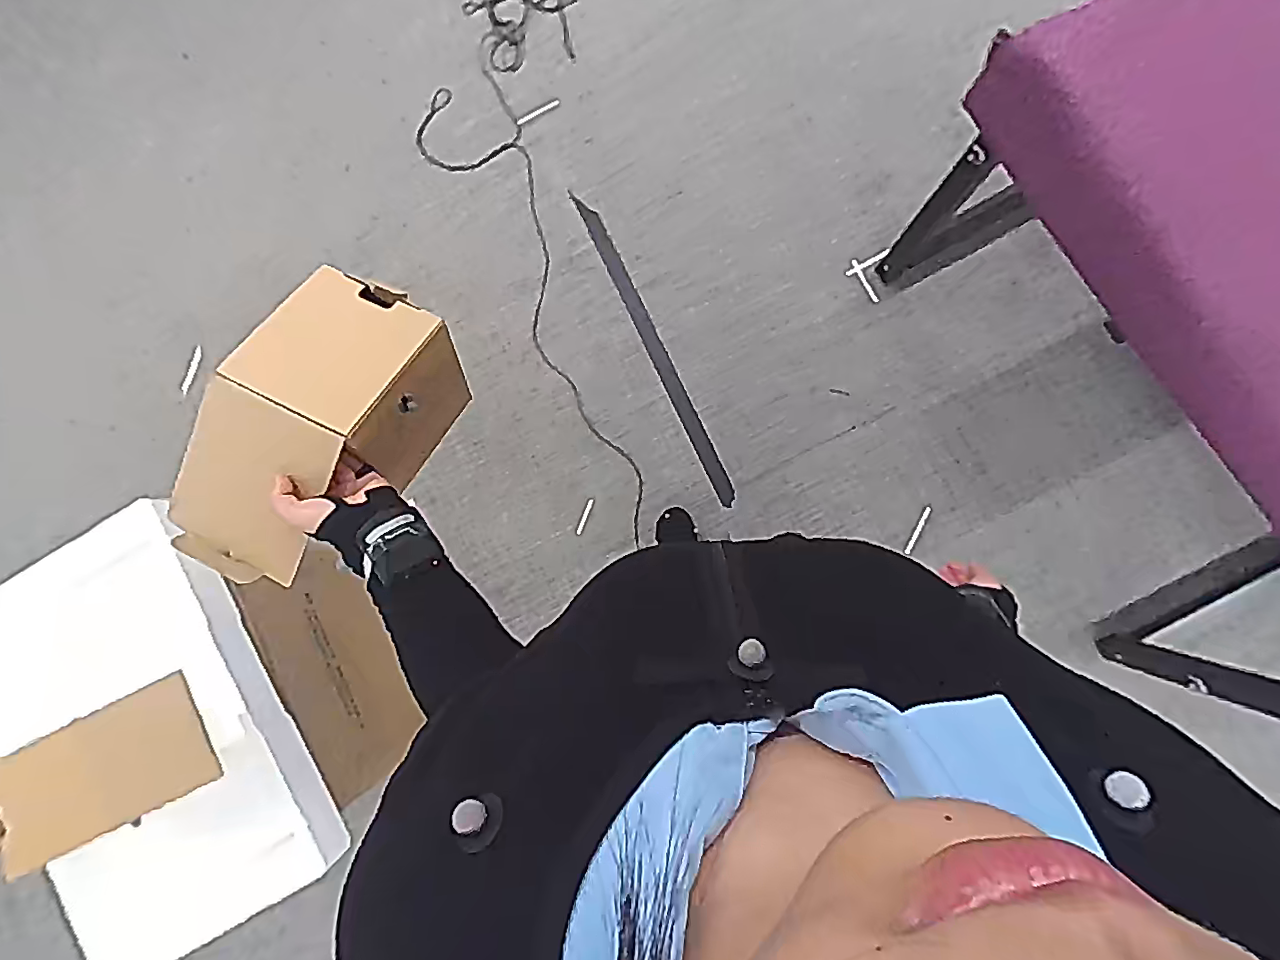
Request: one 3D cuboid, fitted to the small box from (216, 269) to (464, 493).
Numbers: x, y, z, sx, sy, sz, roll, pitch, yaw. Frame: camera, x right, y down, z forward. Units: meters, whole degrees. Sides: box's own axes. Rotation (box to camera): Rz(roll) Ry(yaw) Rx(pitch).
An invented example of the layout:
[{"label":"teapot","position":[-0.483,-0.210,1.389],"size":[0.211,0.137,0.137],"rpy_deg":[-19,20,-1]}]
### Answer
[{"label":"small box","position":[-0.339,-0.110,0.657],"size":[0.168,0.176,0.179],"rpy_deg":[25,65,6]}]
